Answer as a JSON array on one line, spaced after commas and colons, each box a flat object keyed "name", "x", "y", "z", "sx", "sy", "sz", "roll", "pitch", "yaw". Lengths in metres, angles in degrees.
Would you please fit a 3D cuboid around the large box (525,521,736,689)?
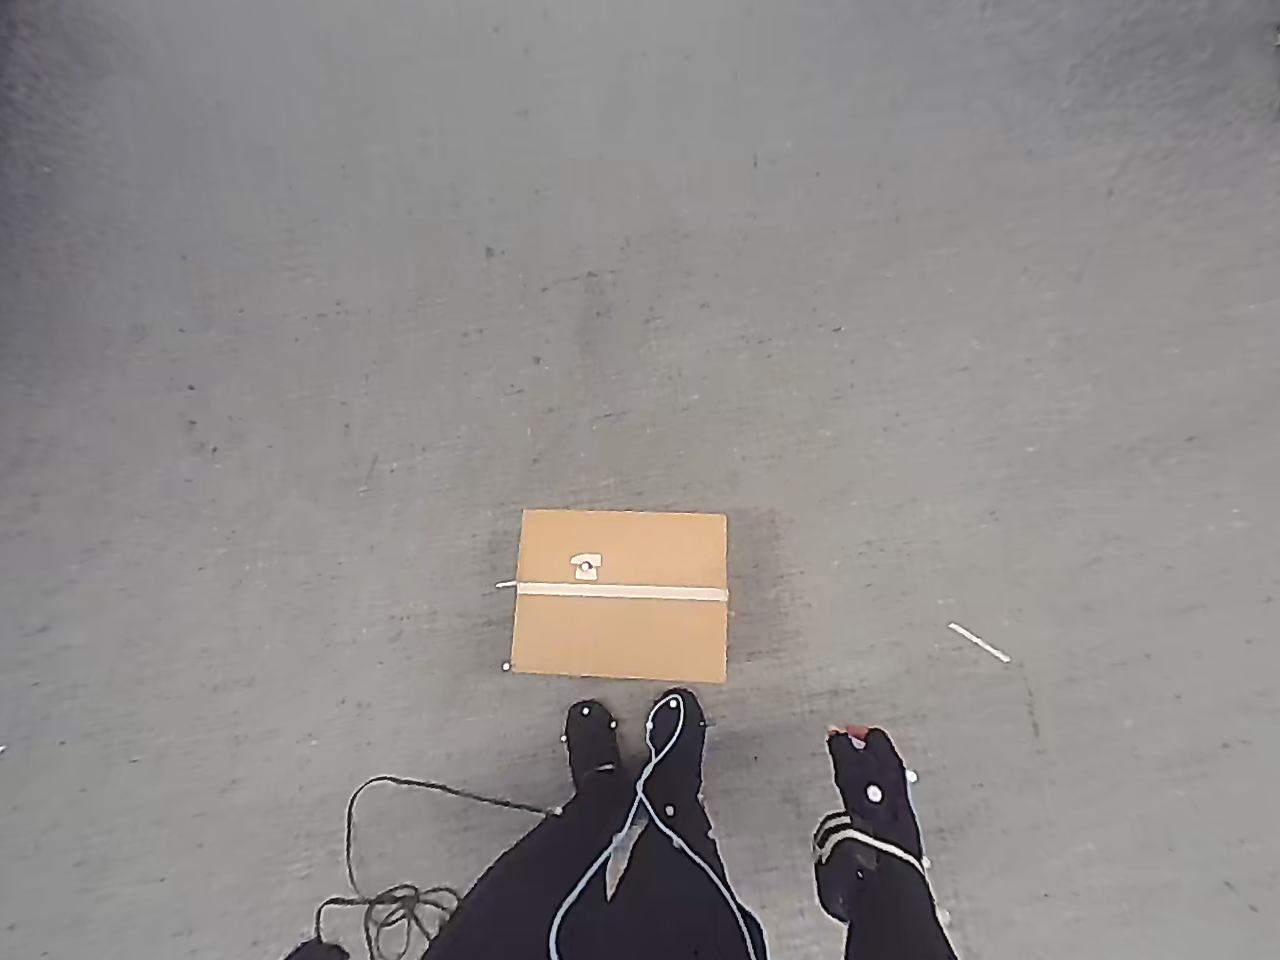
[{"name": "large box", "x": -0.003, "y": 0.264, "z": 1.185, "sx": 0.408, "sy": 0.320, "sz": 0.320, "roll": 0, "pitch": 77, "yaw": 7}]
